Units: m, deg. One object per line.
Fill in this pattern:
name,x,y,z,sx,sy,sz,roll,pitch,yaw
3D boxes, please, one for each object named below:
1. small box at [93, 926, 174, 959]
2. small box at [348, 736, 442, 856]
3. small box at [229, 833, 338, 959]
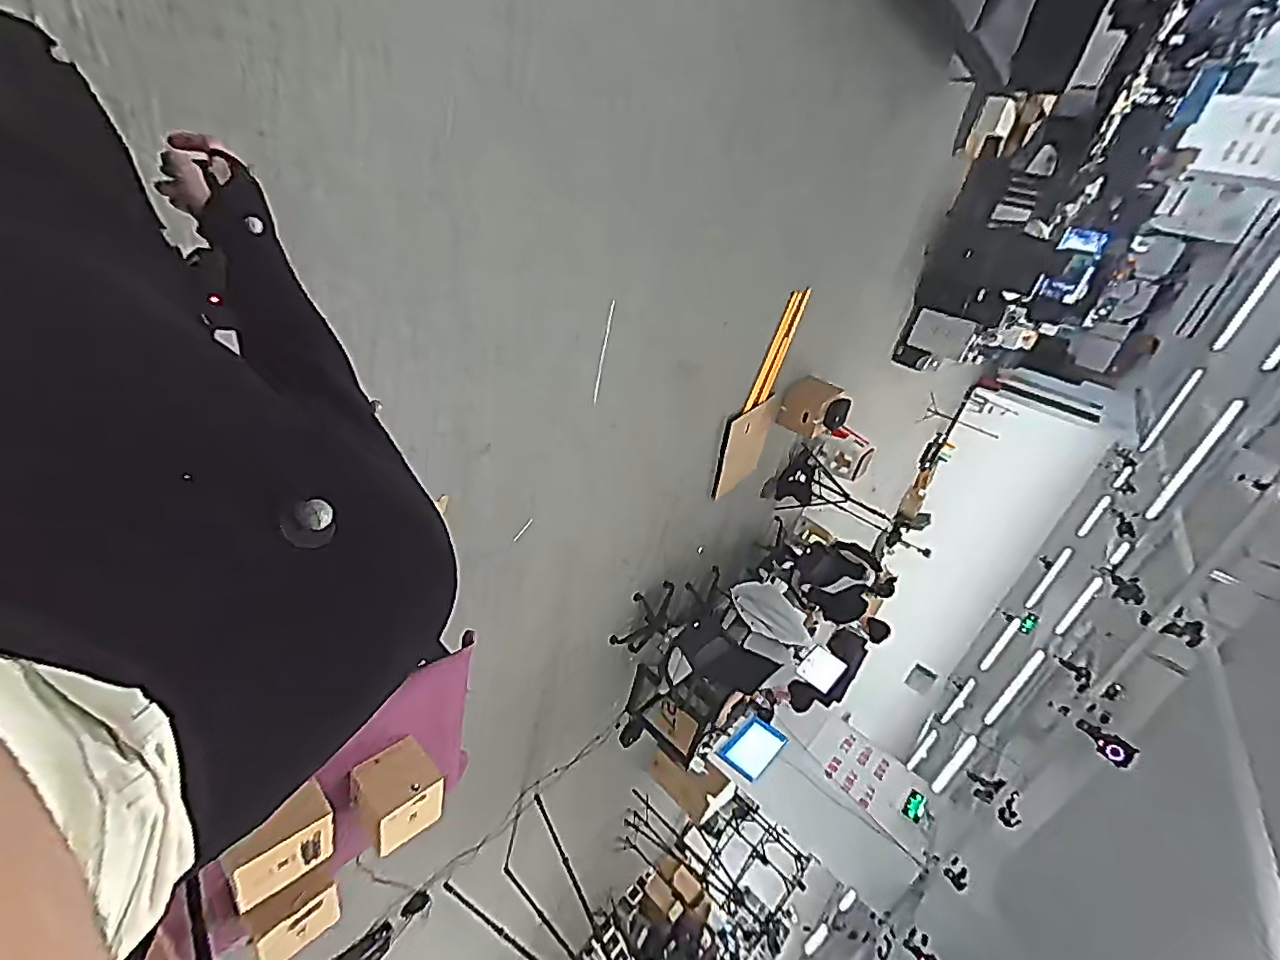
small box,-1.031,1.054,1.079,0.168,0.176,0.179,-22,134,-46
small box,-0.644,0.816,1.413,0.168,0.176,0.179,-20,133,-48
small box,-0.845,0.990,1.285,0.168,0.176,0.179,-20,134,-46
